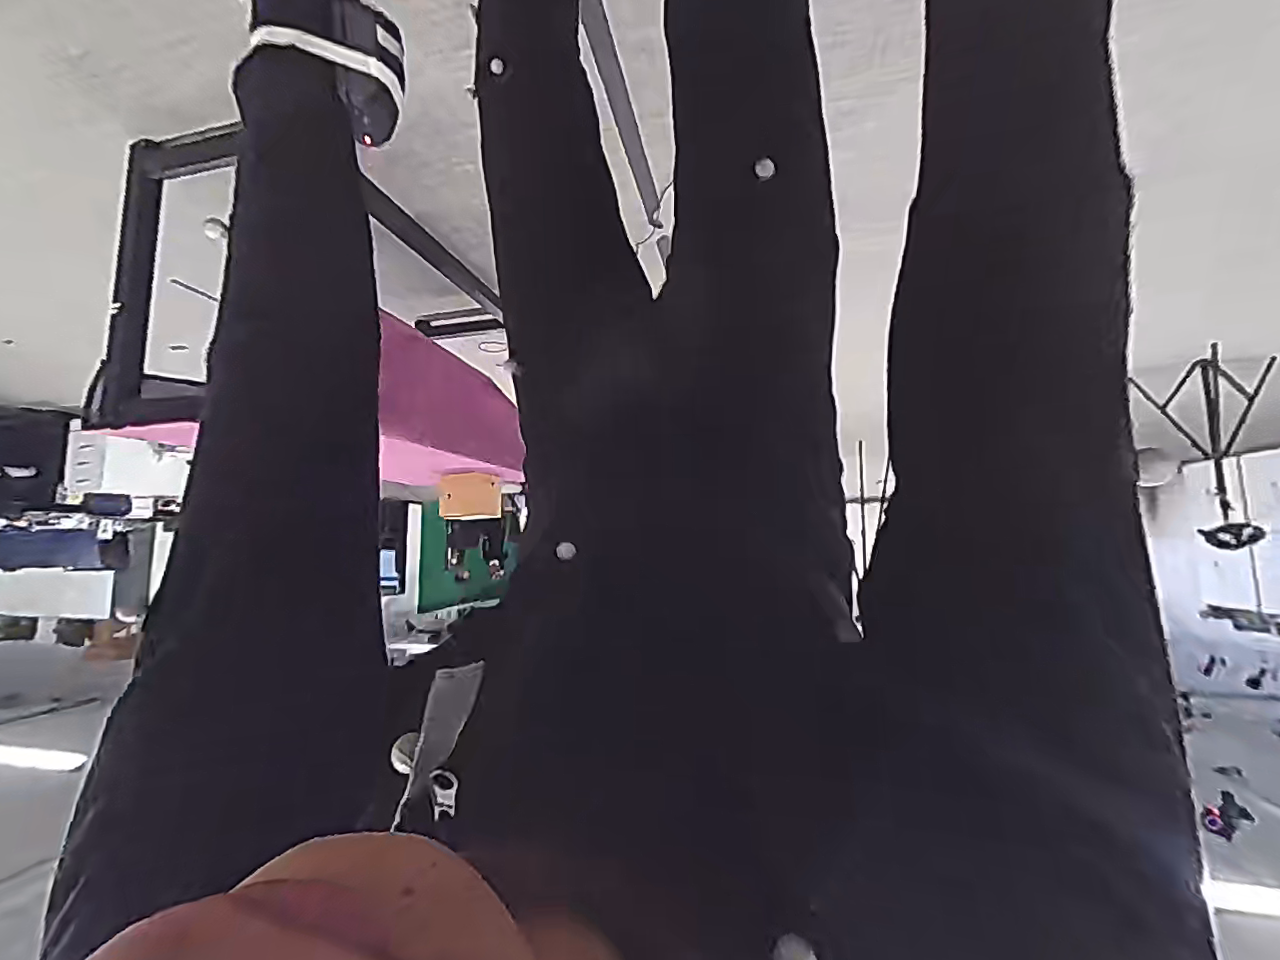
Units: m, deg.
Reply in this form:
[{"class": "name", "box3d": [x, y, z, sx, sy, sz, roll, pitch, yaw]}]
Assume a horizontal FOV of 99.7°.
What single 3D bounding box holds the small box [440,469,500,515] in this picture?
[{"class": "small box", "box3d": [-0.669, 0.051, 2.146, 0.179, 0.176, 0.168, -3, 174, 16]}]
